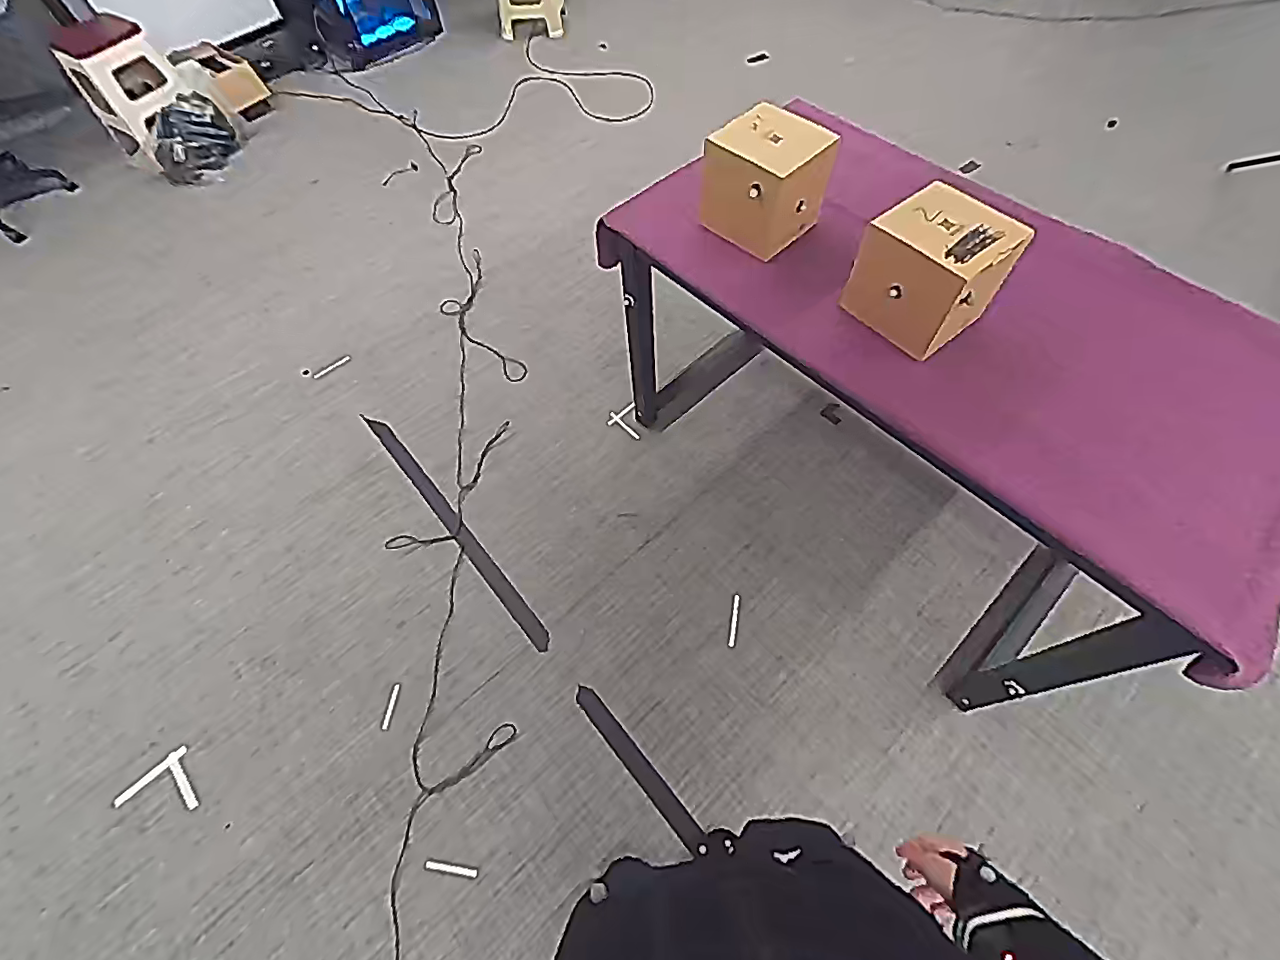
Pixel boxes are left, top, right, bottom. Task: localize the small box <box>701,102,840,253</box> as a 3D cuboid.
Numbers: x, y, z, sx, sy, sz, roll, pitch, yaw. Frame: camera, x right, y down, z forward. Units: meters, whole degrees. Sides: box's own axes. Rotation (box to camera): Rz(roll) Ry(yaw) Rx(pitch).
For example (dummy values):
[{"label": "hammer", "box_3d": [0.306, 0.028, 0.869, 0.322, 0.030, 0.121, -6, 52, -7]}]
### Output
[{"label": "small box", "box_3d": [0.232, -0.555, 1.008, 0.168, 0.176, 0.179, -41, 67, -19]}]
